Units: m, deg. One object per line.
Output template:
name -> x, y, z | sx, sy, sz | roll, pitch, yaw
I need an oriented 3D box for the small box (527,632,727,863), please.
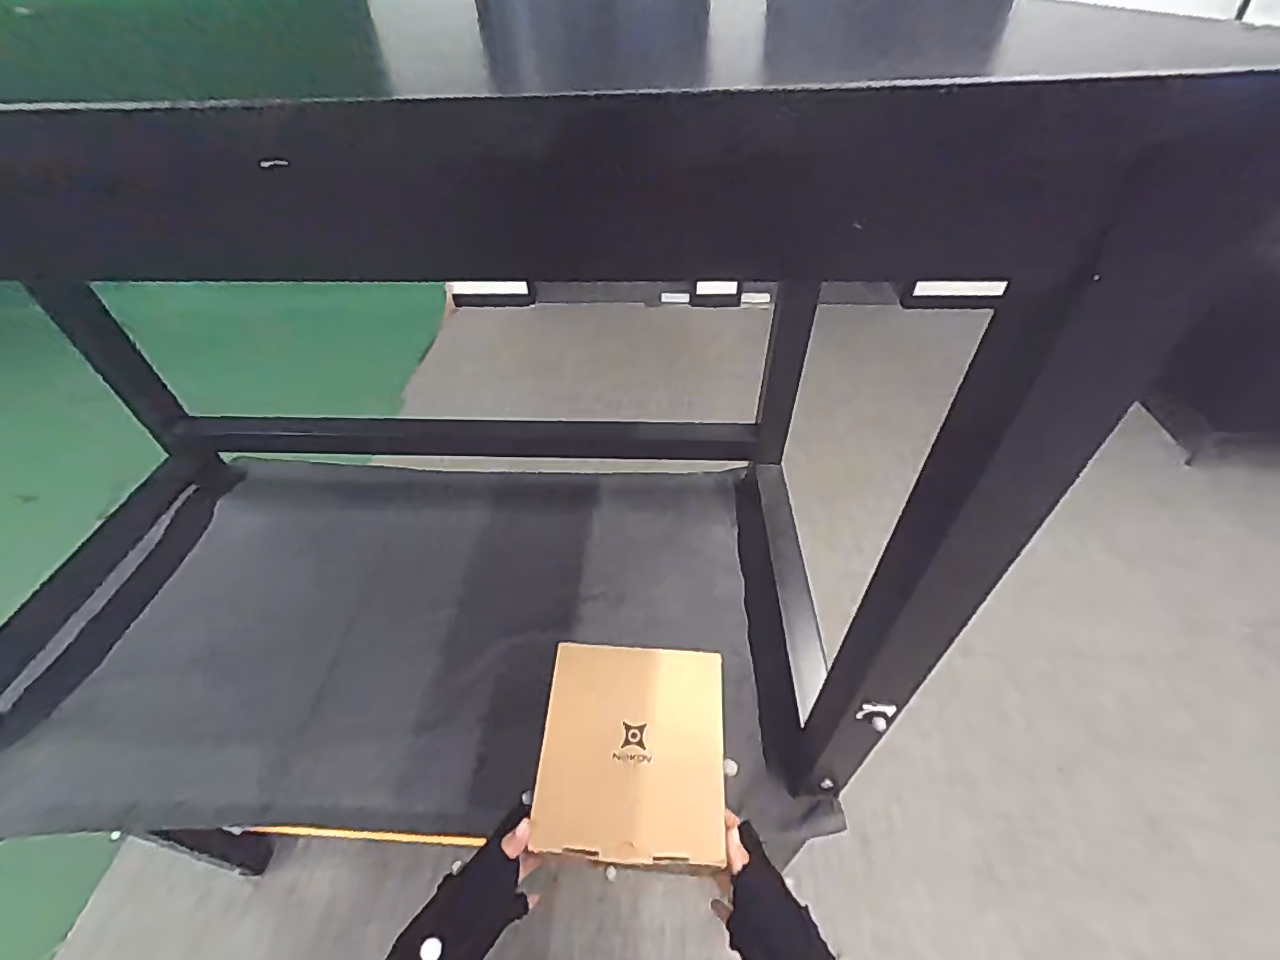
small box -> -0.008, 0.273, 0.548 | 0.168, 0.176, 0.179 | 3, 53, 1
